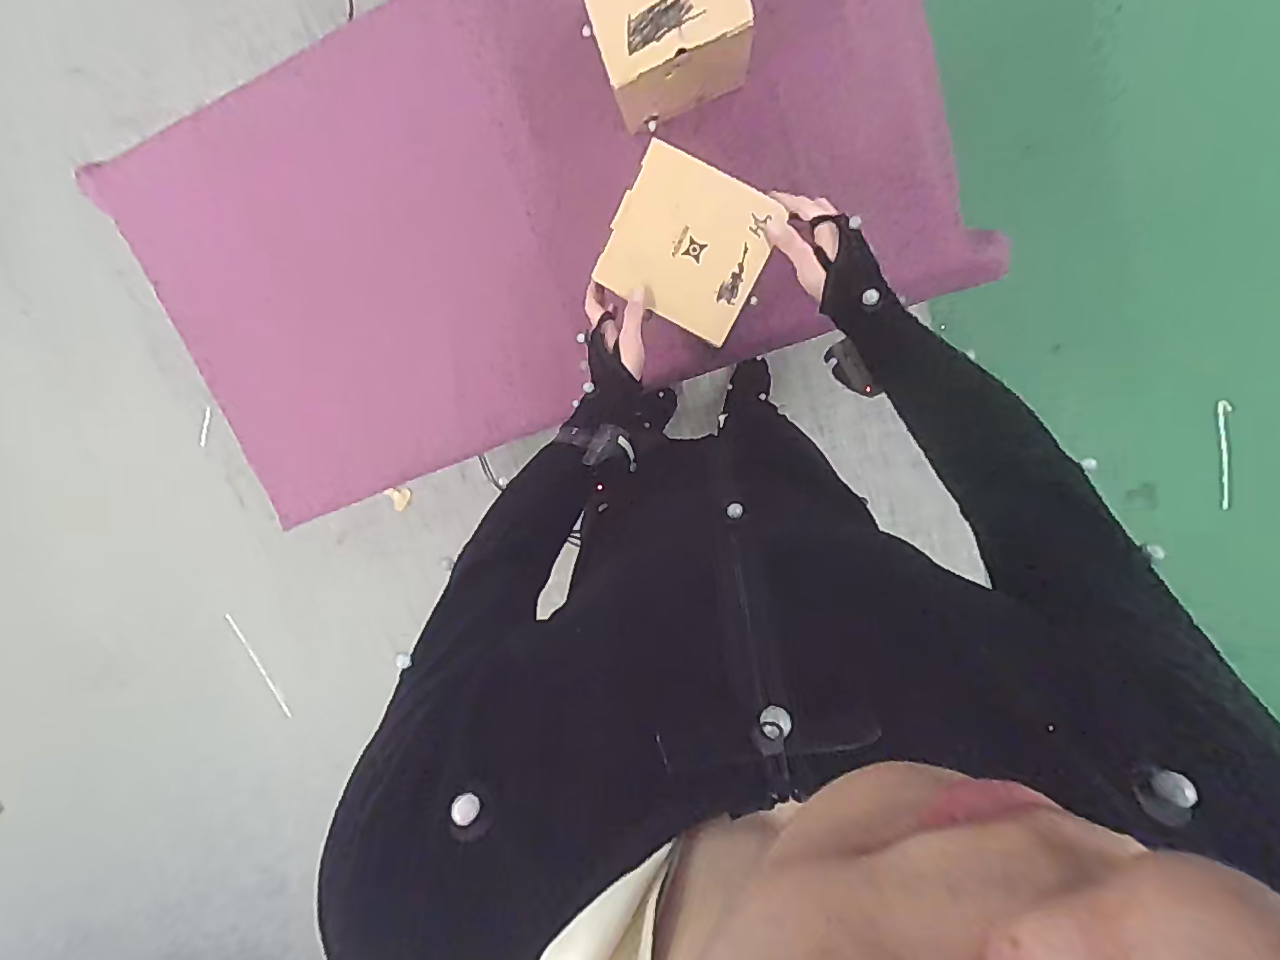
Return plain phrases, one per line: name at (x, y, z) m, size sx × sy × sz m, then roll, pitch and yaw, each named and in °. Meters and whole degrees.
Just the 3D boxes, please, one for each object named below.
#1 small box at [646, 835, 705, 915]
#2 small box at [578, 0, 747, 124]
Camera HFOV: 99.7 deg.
small box at (0.133, 1.429, 1.964) m, size 0.179 × 0.176 × 0.168 m, roll -14°, pitch 104°, yaw 11°
small box at (0.021, -0.557, 0.639) m, size 0.168 × 0.176 × 0.179 m, roll -17°, pitch 103°, yaw 11°
